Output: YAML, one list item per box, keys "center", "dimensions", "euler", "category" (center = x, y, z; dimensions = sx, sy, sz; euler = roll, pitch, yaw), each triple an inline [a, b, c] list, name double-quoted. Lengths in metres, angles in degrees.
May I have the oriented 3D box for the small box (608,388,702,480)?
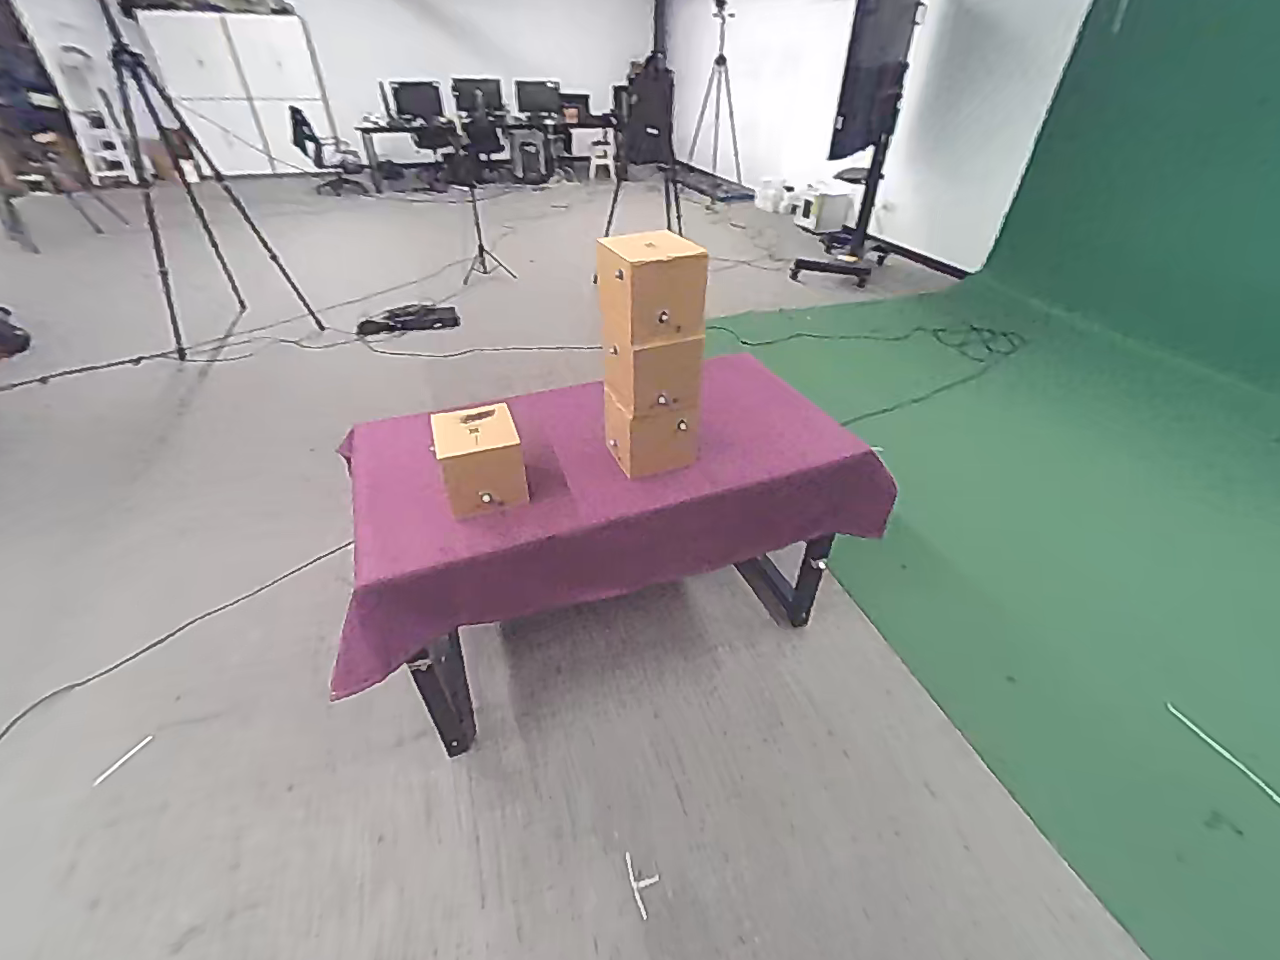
- center: [0.030, -0.125, 1.299]
  dimensions: [0.179, 0.176, 0.168]
  euler: [-14, 40, -17]
  category: "small box"

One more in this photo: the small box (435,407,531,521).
- center: [-0.343, -0.037, 1.184]
  dimensions: [0.168, 0.176, 0.179]
  euler: [-13, 41, -16]
  category: "small box"

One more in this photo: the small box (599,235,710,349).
- center: [0.024, -0.385, 1.104]
  dimensions: [0.168, 0.176, 0.179]
  euler: [-17, 42, -20]
  category: "small box"

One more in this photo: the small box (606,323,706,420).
- center: [0.029, -0.254, 1.201]
  dimensions: [0.168, 0.176, 0.179]
  euler: [-15, 41, -18]
  category: "small box"
